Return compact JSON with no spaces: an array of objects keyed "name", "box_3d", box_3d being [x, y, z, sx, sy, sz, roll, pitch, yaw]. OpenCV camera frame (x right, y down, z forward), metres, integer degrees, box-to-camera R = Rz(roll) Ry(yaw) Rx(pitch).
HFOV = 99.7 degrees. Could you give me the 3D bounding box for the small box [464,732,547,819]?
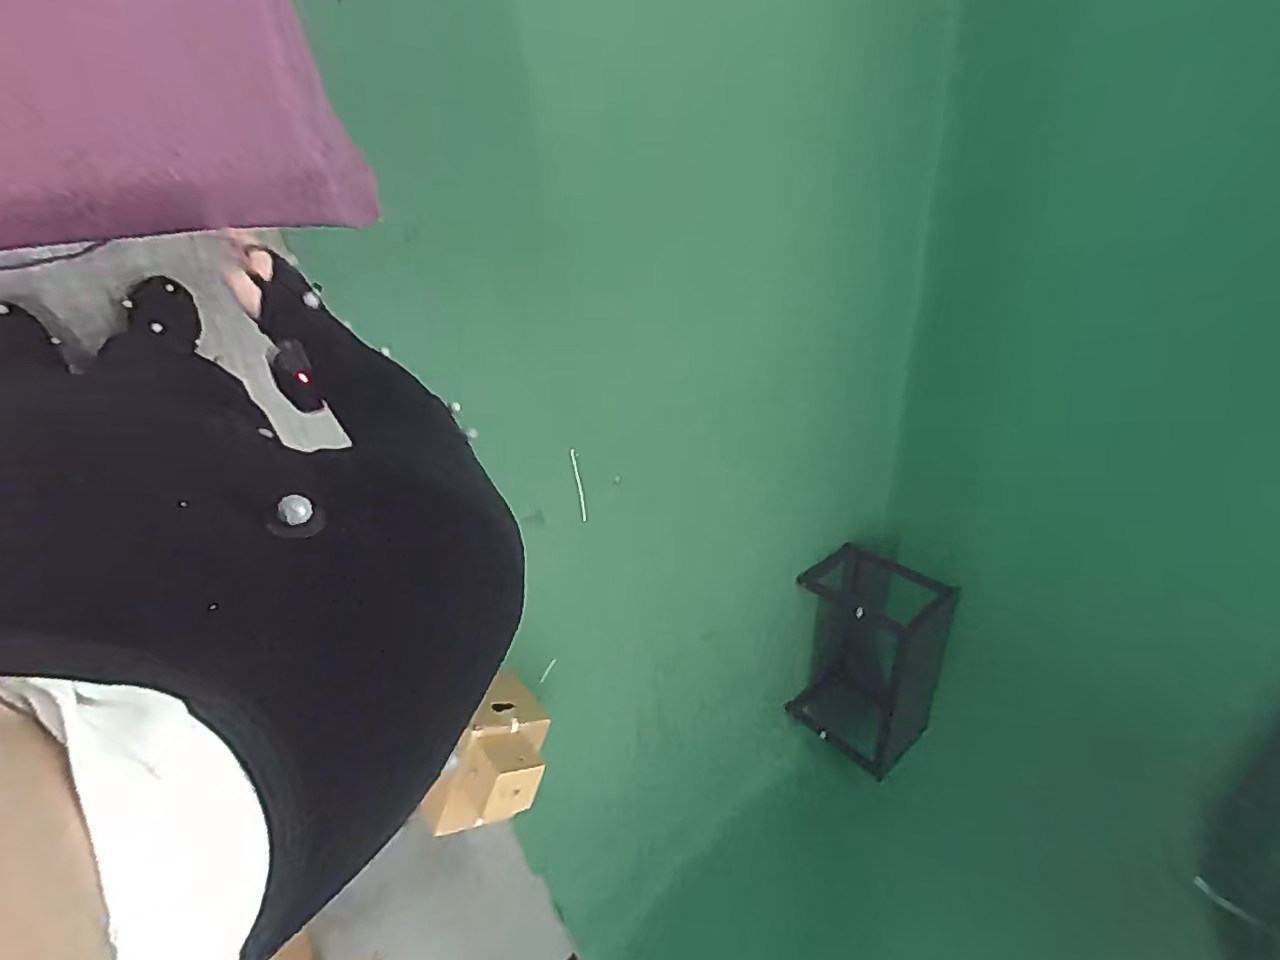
[{"name":"small box","box_3d":[-0.434,0.938,1.736,0.179,0.176,0.168,14,98,-43]}]
